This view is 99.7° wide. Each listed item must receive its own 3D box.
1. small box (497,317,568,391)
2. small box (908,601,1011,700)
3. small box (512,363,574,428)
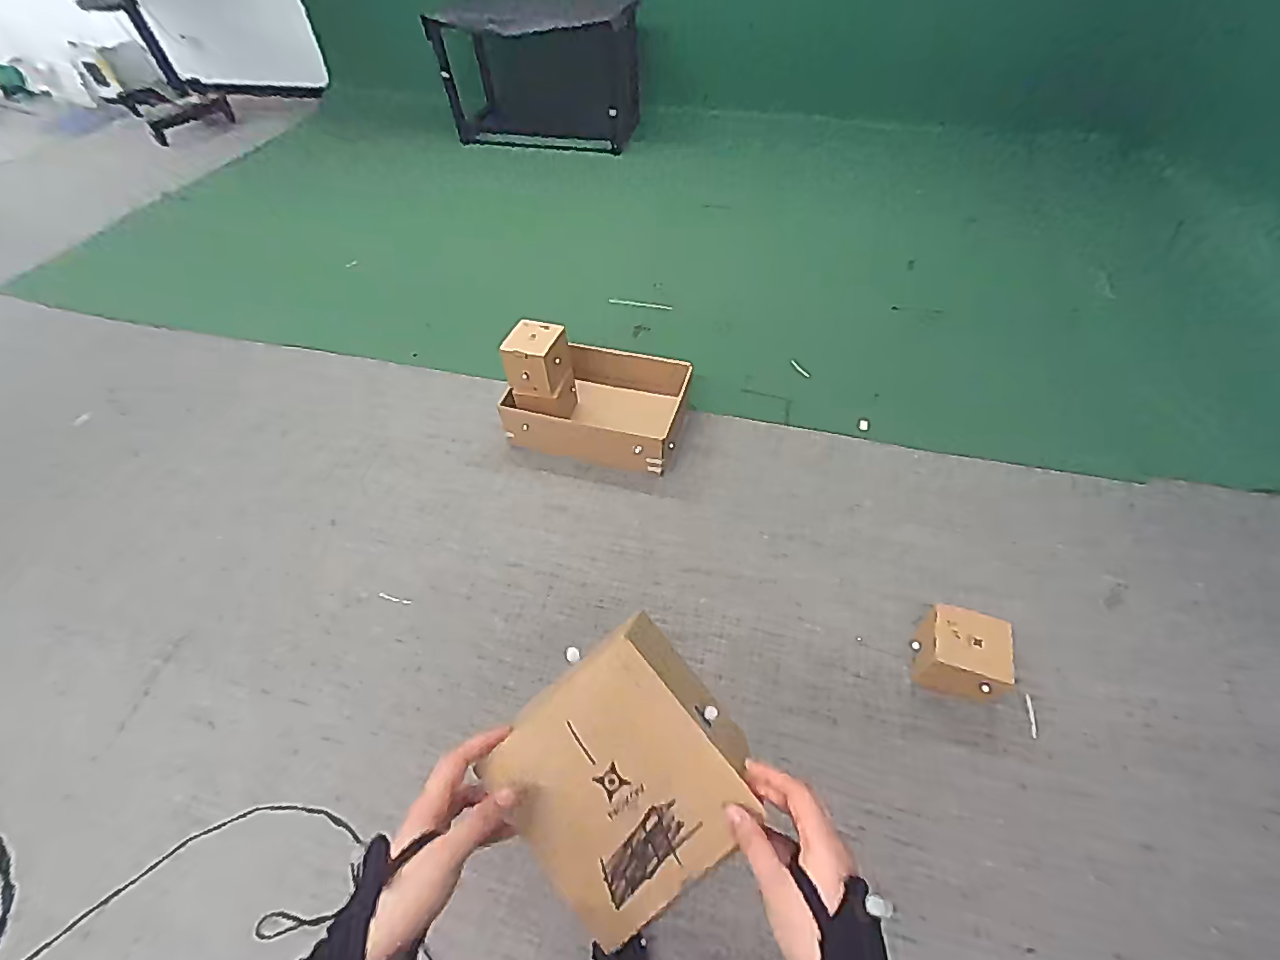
[{"bbox_3d":[-0.357,-0.428,1.848,0.168,0.176,0.179,14,55,13],"label":"small box"},{"bbox_3d":[0.811,0.441,1.382,0.179,0.176,0.168,15,53,14],"label":"small box"},{"bbox_3d":[-0.345,-0.316,1.968,0.168,0.176,0.179,9,54,10],"label":"small box"}]
